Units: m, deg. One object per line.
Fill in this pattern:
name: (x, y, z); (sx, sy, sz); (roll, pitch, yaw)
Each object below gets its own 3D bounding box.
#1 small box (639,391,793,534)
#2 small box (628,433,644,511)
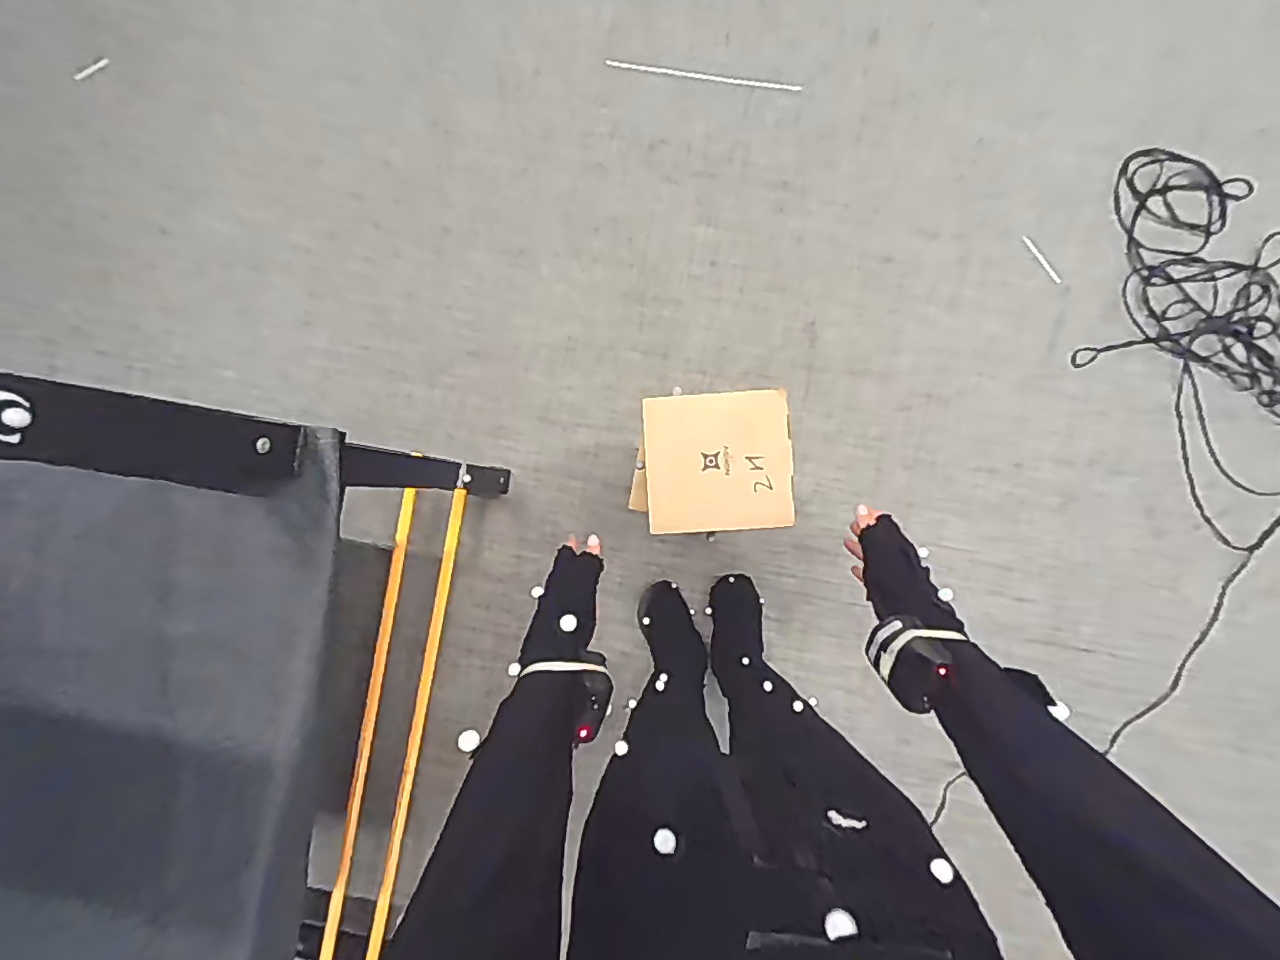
small box: (0.095, -0.018, 0.718); (0.179, 0.176, 0.168); (-3, 90, 3)
small box: (0.086, -0.019, 0.882); (0.179, 0.176, 0.168); (10, 90, 4)
